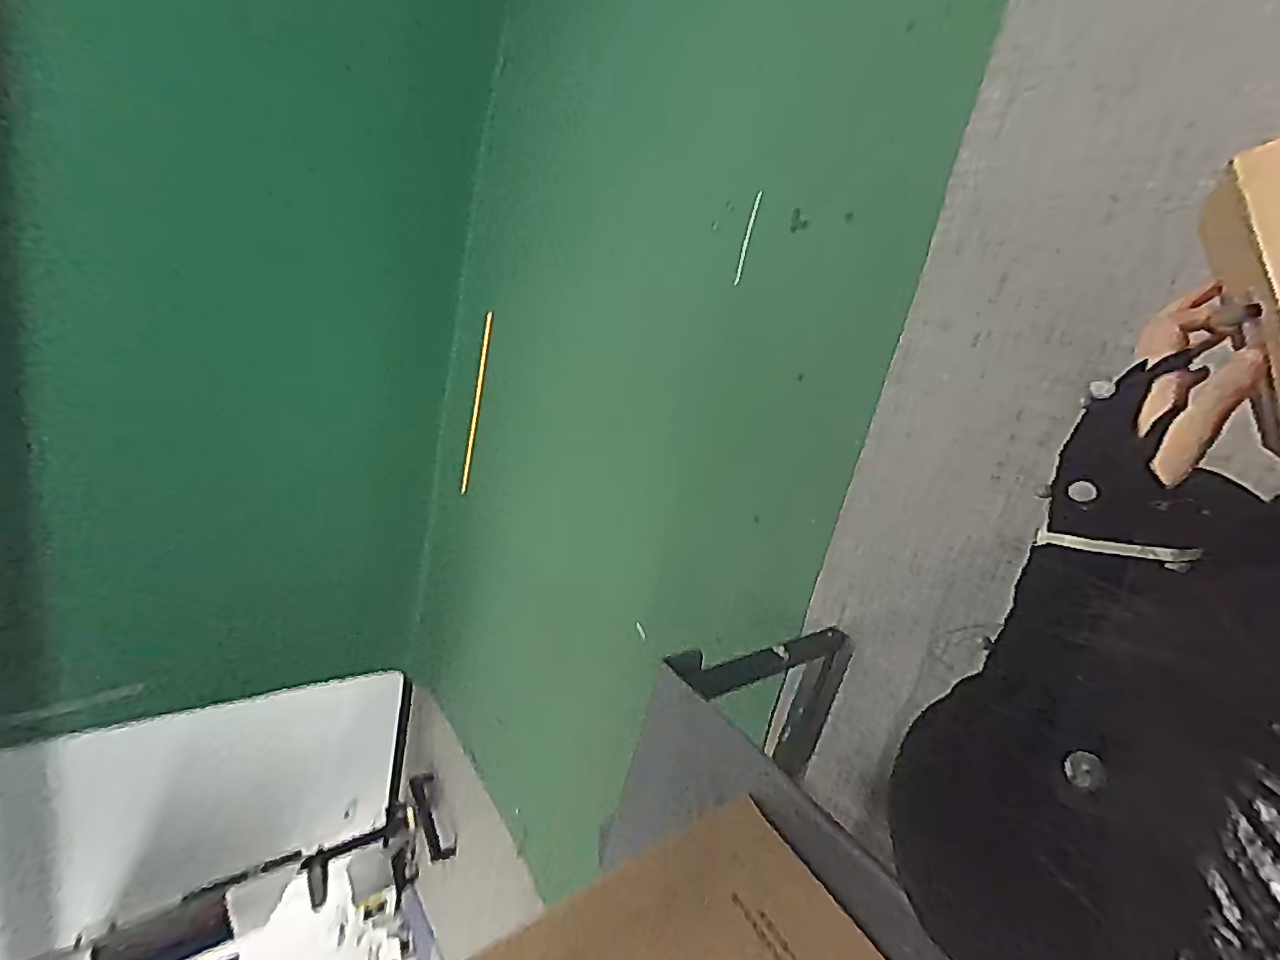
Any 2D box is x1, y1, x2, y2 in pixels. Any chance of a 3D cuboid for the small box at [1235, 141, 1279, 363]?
[{"bbox_3d":[0.442,-0.129,0.267,0.168,0.176,0.179,-16,90,43],"label":"small box"}]
